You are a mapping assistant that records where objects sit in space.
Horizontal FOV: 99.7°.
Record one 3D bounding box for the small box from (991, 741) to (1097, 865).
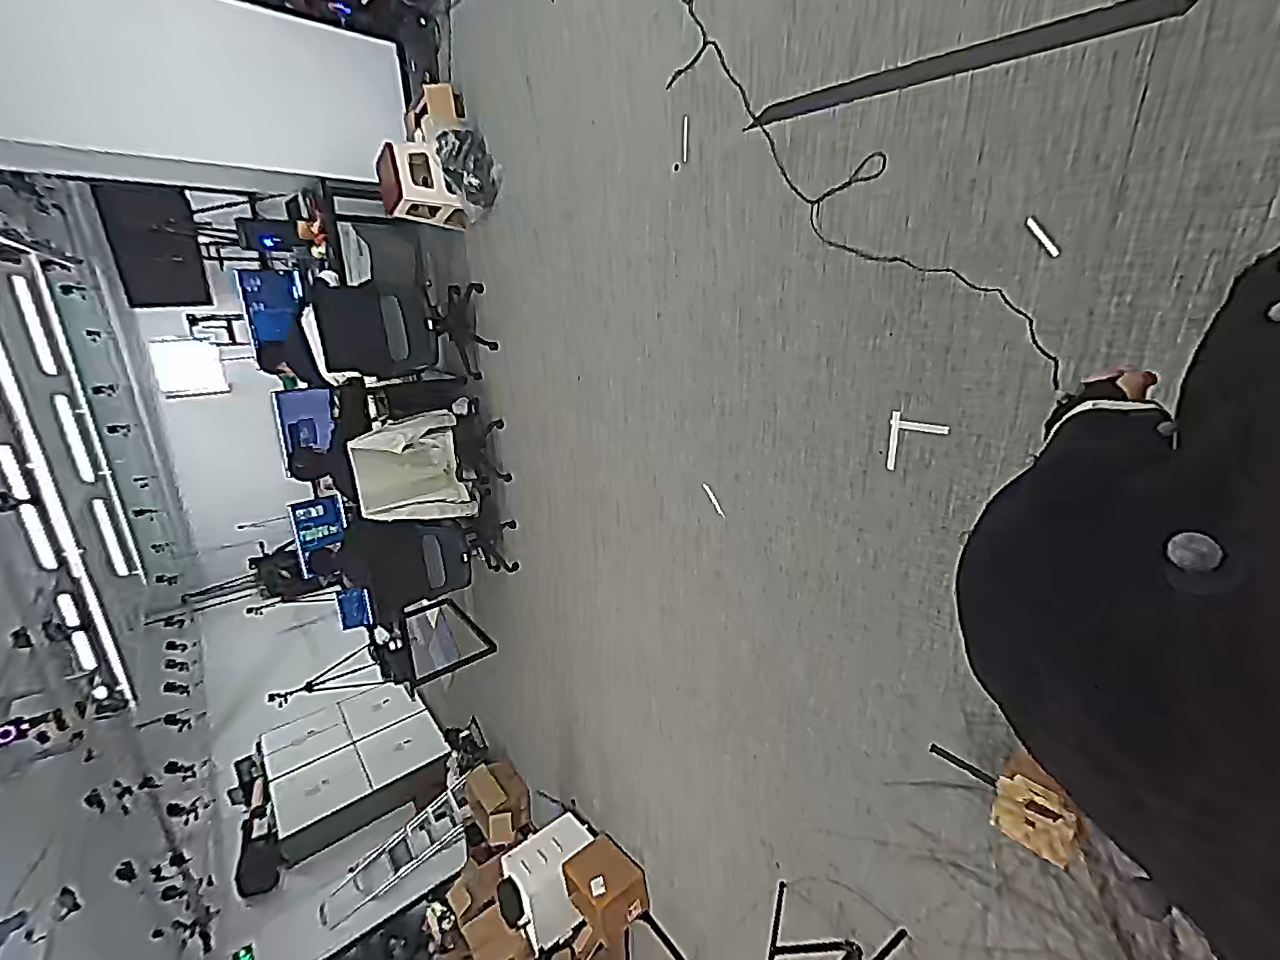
[{"bbox_3d":[1.034,0.813,1.381,0.168,0.176,0.179,19,117,49],"label":"small box"}]
